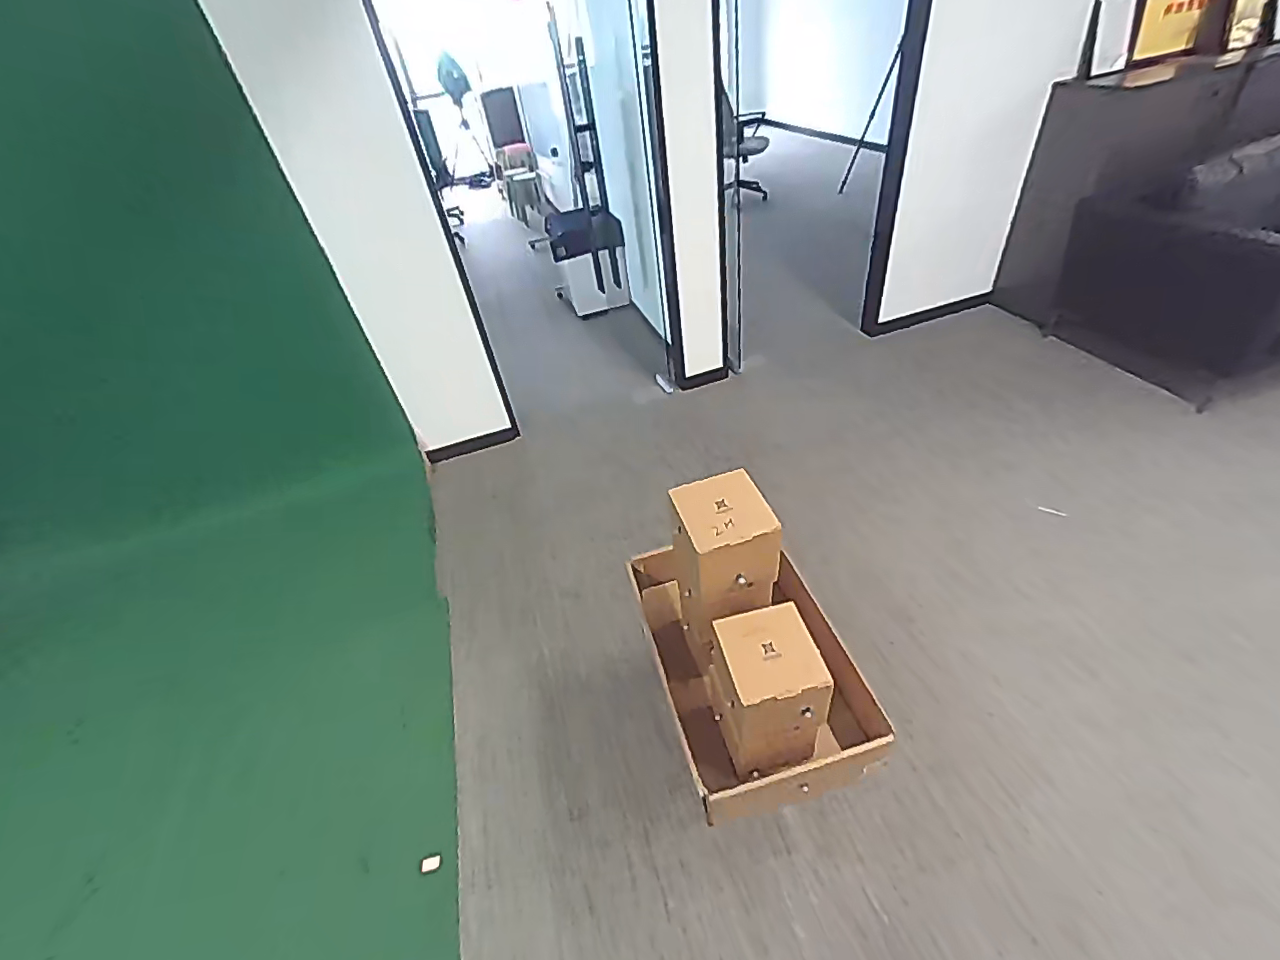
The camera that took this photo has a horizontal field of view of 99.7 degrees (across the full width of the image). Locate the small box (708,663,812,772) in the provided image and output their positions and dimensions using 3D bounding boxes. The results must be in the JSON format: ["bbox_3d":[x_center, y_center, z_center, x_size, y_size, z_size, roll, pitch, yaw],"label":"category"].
[{"bbox_3d":[0.251,0.485,1.134,0.168,0.176,0.179,-14,40,-6],"label":"small box"}]

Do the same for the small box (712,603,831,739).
[{"bbox_3d":[0.242,0.366,1.023,0.168,0.176,0.179,-12,40,-4],"label":"small box"}]

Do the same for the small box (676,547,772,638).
[{"bbox_3d":[0.180,0.221,1.206,0.168,0.176,0.179,-14,44,-6],"label":"small box"}]

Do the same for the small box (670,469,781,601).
[{"bbox_3d":[0.165,0.111,1.084,0.168,0.176,0.179,-16,44,-7],"label":"small box"}]
